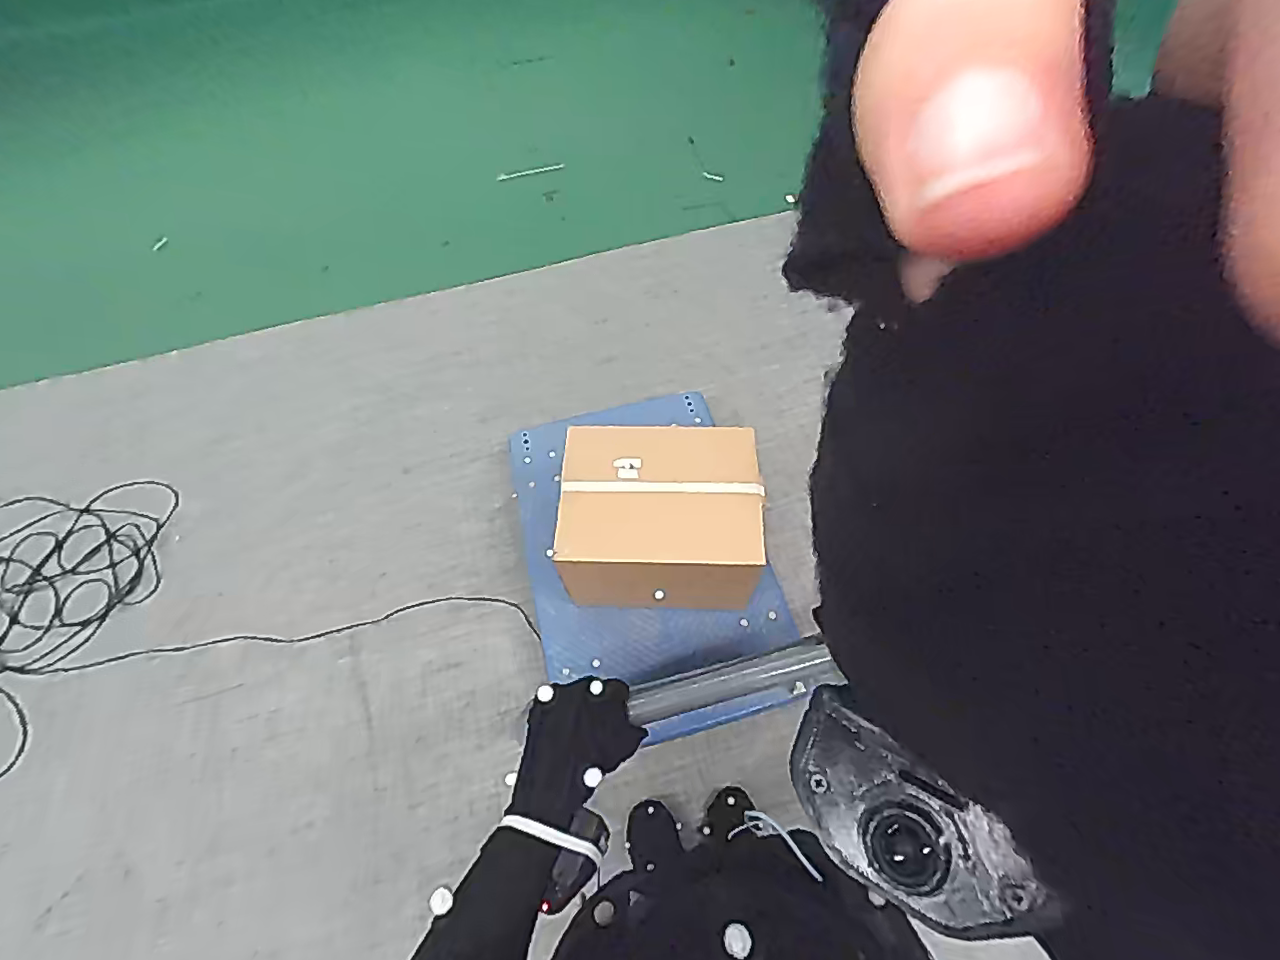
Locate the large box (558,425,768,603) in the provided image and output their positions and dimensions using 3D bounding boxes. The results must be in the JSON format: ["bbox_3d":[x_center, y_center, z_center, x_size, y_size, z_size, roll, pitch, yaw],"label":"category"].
[{"bbox_3d":[0.054,0.091,1.218,0.408,0.320,0.320,0,61,4],"label":"large box"}]
